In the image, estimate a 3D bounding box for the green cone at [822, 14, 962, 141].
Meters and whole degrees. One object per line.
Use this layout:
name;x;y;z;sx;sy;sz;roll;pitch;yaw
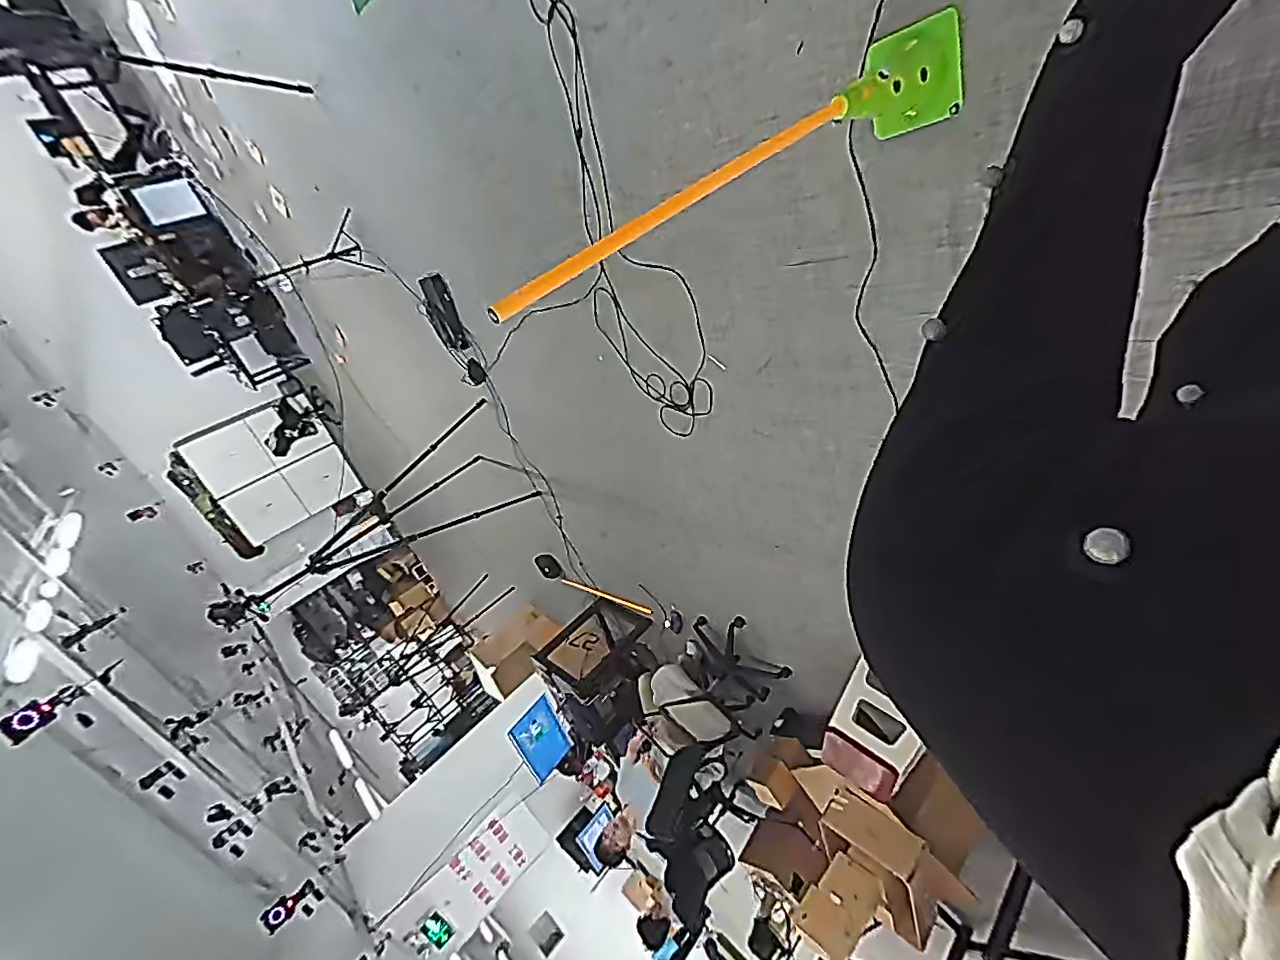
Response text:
green cone;0.509;-0.829;1.163;0.202;0.368;0.200;12;131;50
